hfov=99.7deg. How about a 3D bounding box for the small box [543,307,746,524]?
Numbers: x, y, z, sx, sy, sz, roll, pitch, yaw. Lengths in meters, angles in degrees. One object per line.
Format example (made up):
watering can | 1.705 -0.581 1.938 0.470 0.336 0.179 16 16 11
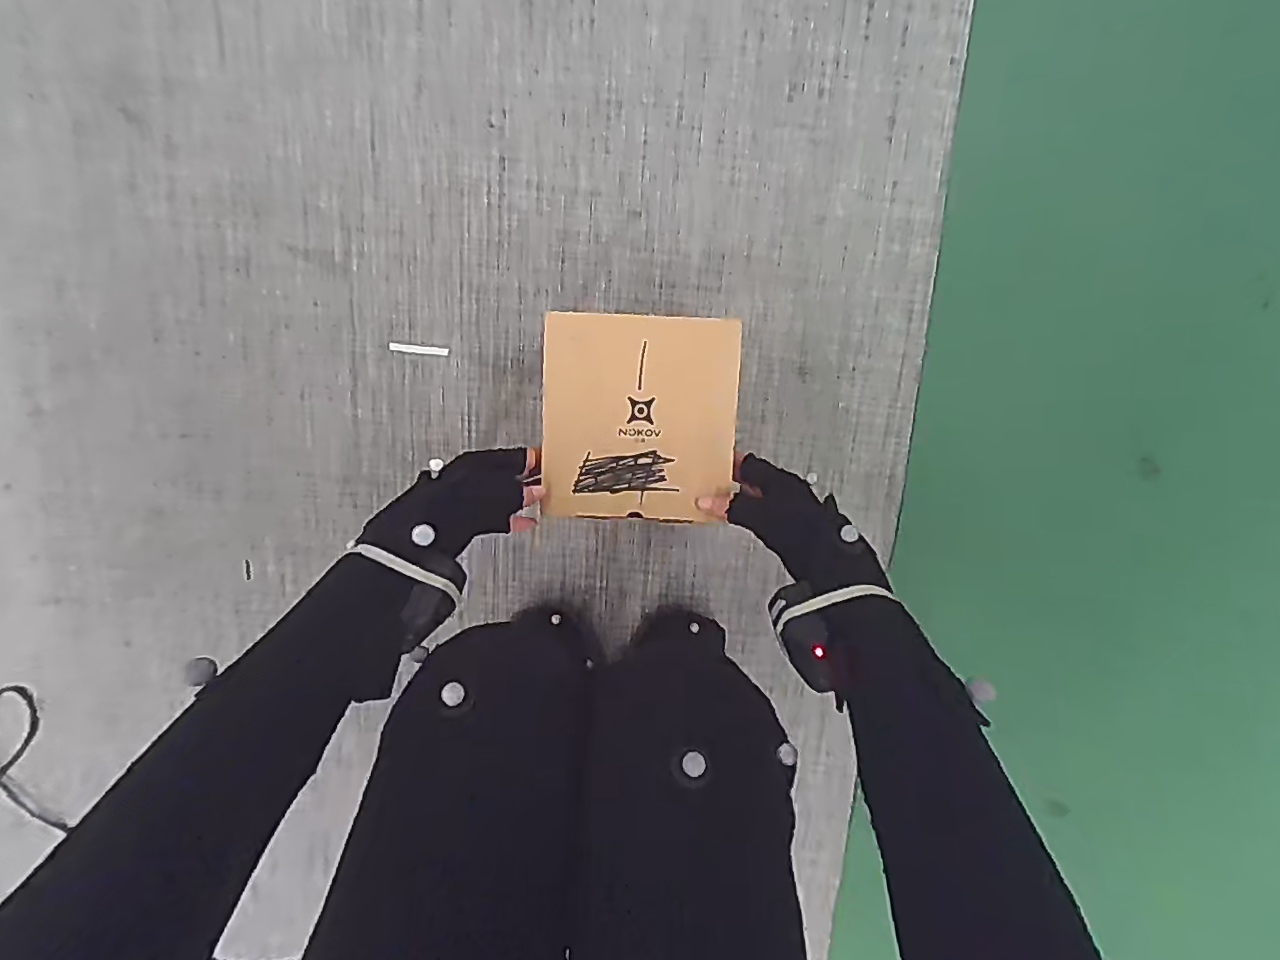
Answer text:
small box | 0.003 -0.064 0.539 0.168 0.176 0.179 4 98 0
